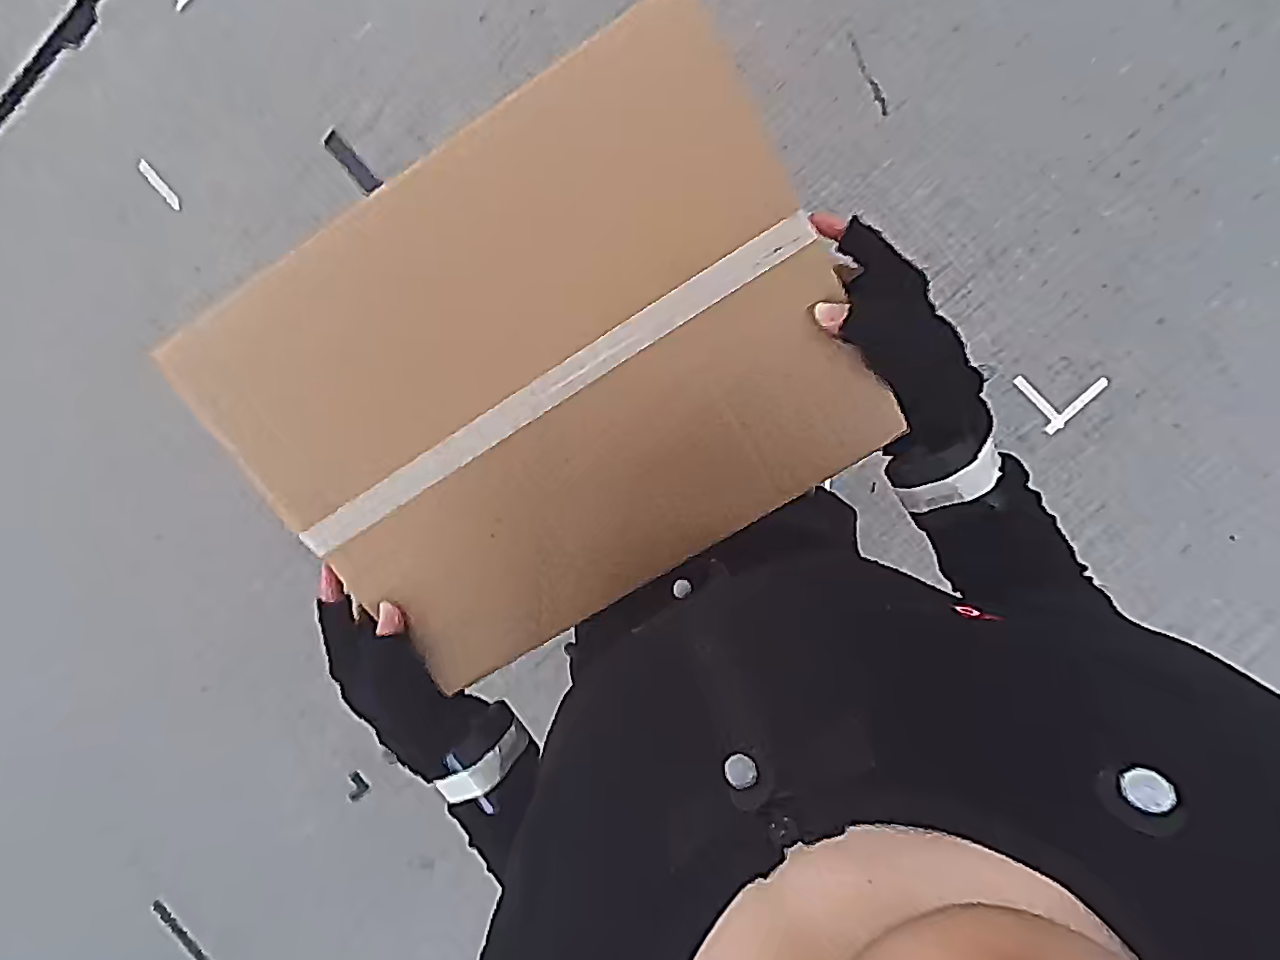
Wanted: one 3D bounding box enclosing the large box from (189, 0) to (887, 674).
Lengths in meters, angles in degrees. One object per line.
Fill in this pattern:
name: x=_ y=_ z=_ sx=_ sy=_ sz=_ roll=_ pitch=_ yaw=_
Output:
large box: x=-0.070 y=-0.105 z=0.522 sx=0.408 sy=0.320 sz=0.320 roll=-31 pitch=105 yaw=6
